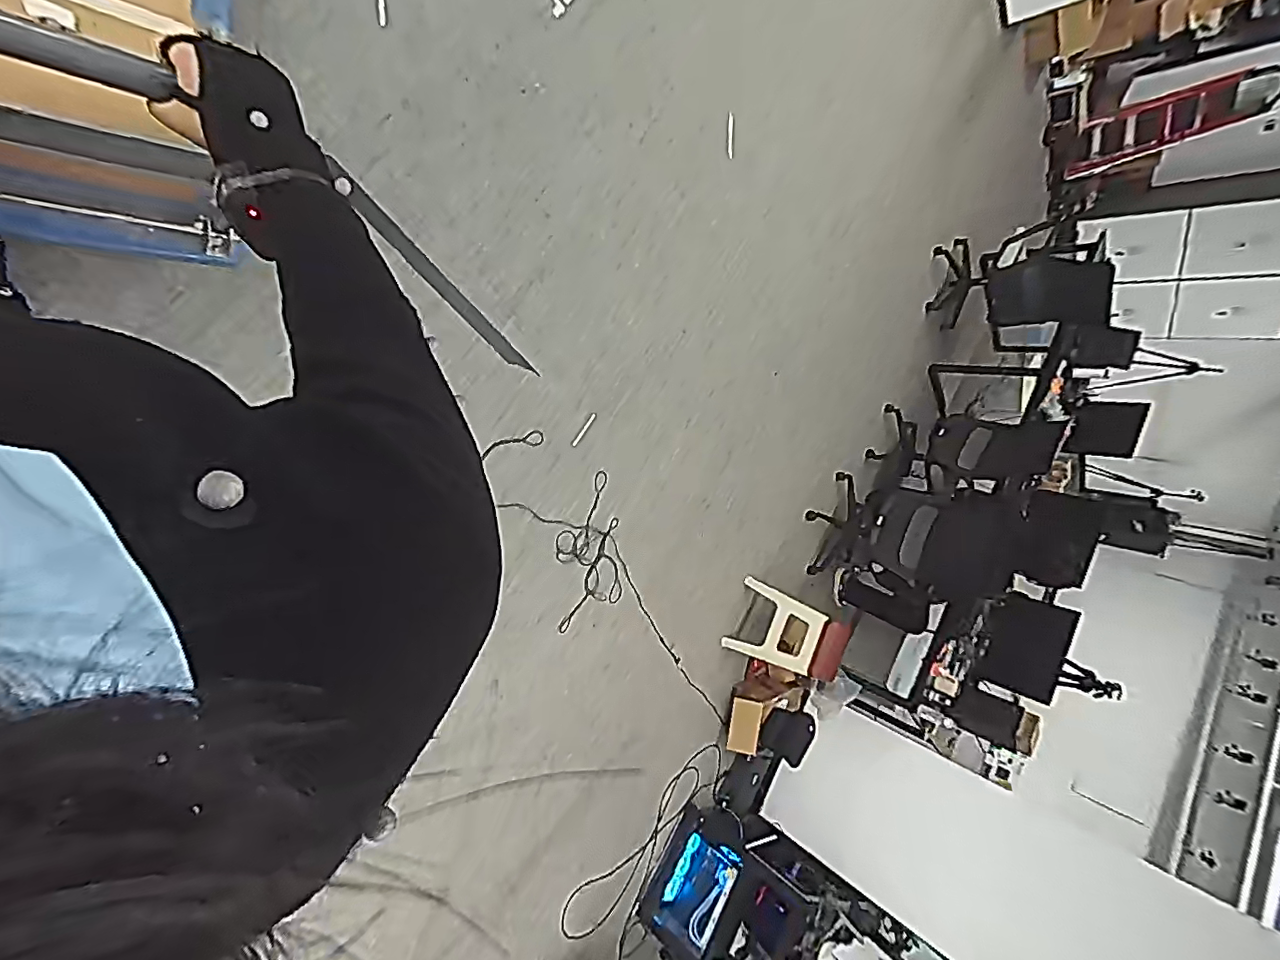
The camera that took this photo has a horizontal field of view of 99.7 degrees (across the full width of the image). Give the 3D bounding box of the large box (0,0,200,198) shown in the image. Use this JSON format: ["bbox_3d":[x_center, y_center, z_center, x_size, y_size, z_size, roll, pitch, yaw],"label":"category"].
[{"bbox_3d":[-0.856,-0.600,0.691,0.408,0.320,0.320,-7,107,-45],"label":"large box"}]
